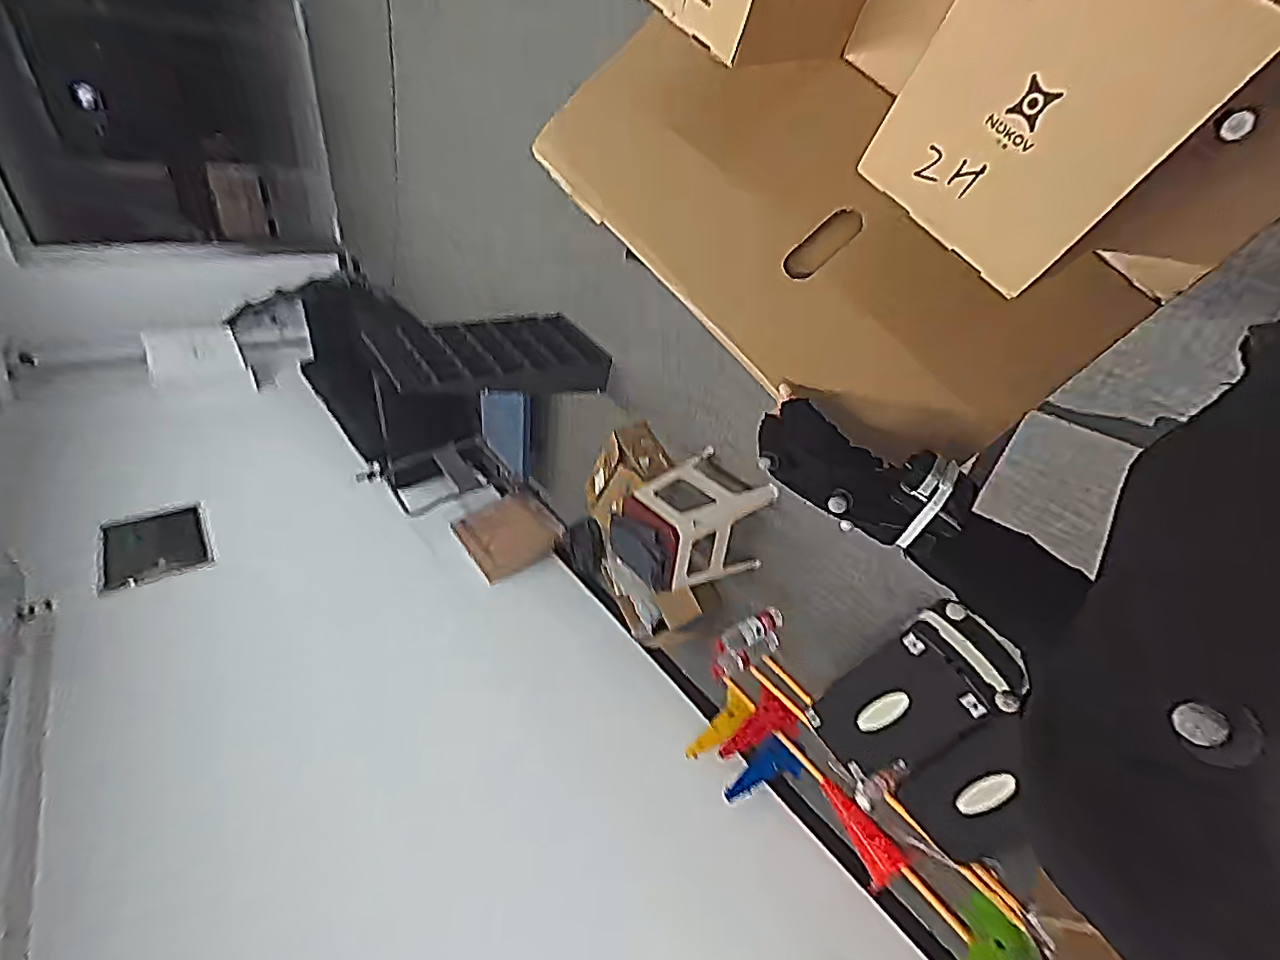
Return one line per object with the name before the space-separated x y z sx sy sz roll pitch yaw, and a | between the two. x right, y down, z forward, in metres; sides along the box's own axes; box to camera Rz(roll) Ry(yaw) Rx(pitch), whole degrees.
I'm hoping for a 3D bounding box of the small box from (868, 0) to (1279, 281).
small box | 0.315 -0.284 0.388 0.168 0.176 0.179 53 152 14
